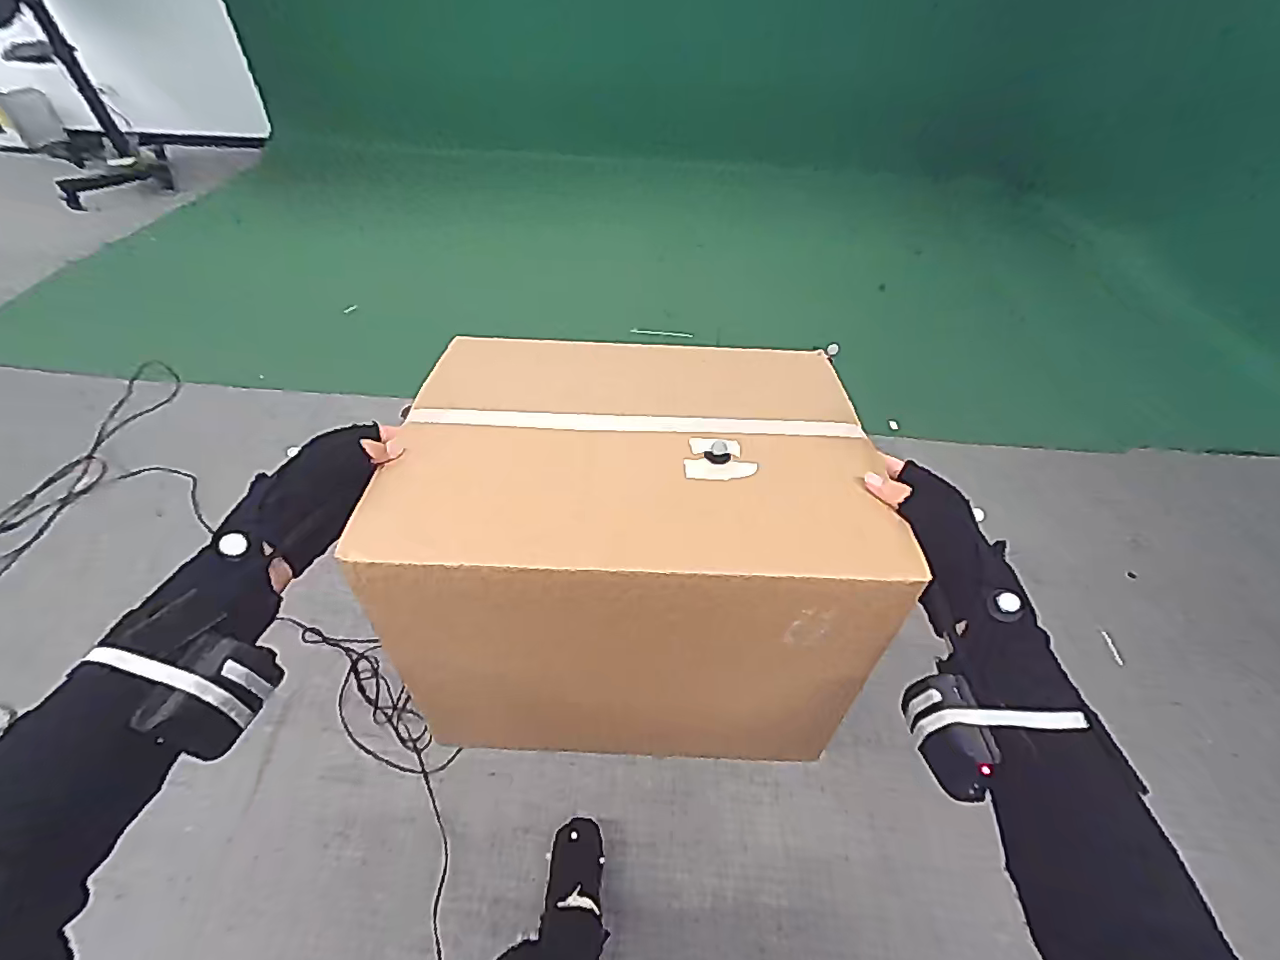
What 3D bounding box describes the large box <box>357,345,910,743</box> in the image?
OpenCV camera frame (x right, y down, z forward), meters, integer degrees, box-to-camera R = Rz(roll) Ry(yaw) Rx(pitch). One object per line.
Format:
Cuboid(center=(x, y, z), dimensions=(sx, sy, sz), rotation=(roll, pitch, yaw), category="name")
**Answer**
Cuboid(center=(-0.009, 0.068, 0.589), dimensions=(0.408, 0.320, 0.320), rotation=(2, 43, -1), category="large box")
